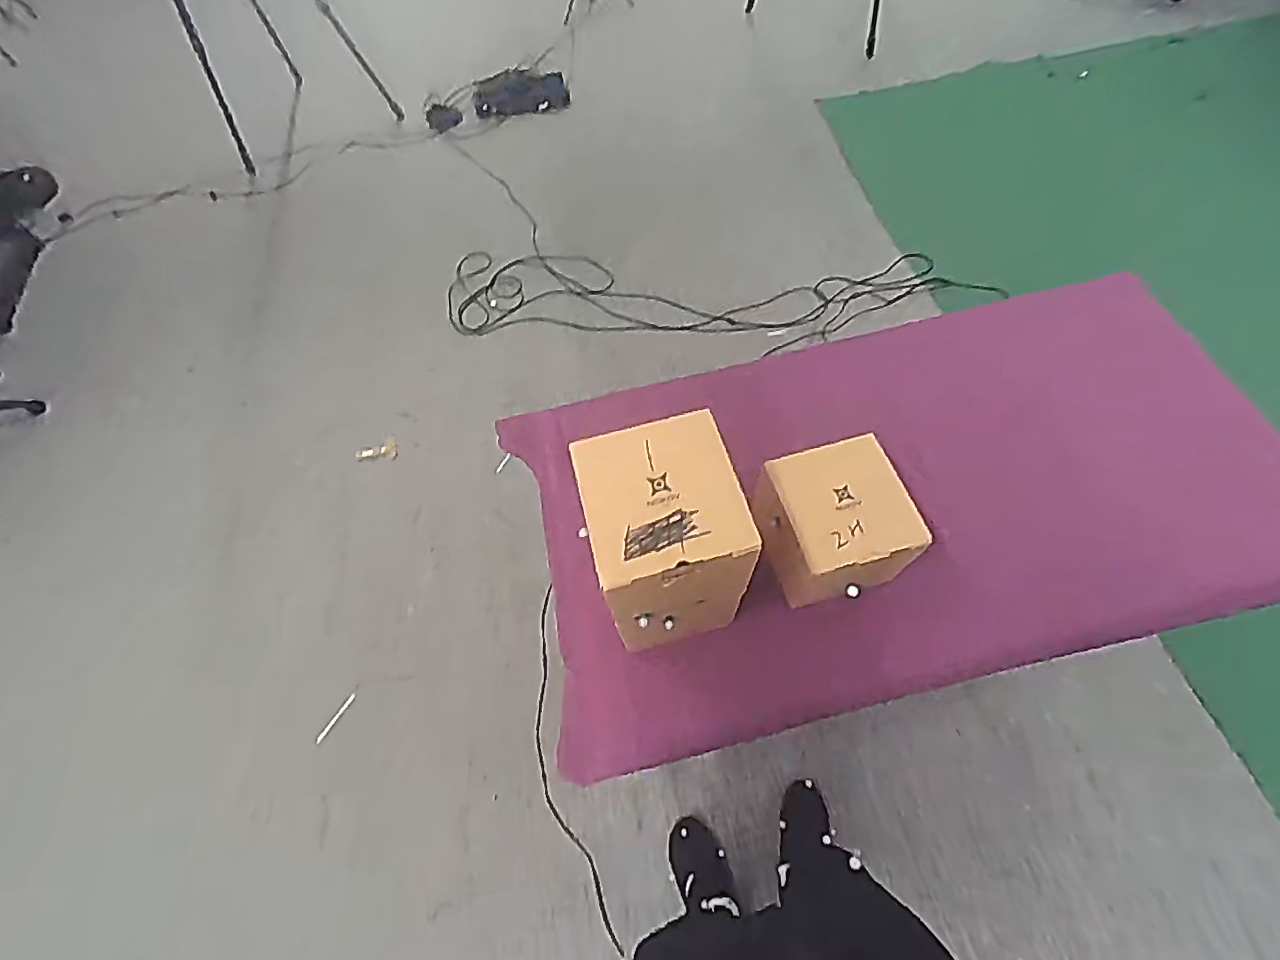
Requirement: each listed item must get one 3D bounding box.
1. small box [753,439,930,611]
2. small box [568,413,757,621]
[{"bbox_3d":[0.276,0.071,0.793,0.168,0.176,0.179,-15,62,-3],"label":"small box"},{"bbox_3d":[0.024,0.054,0.632,0.168,0.176,0.179,-14,61,-4],"label":"small box"}]
